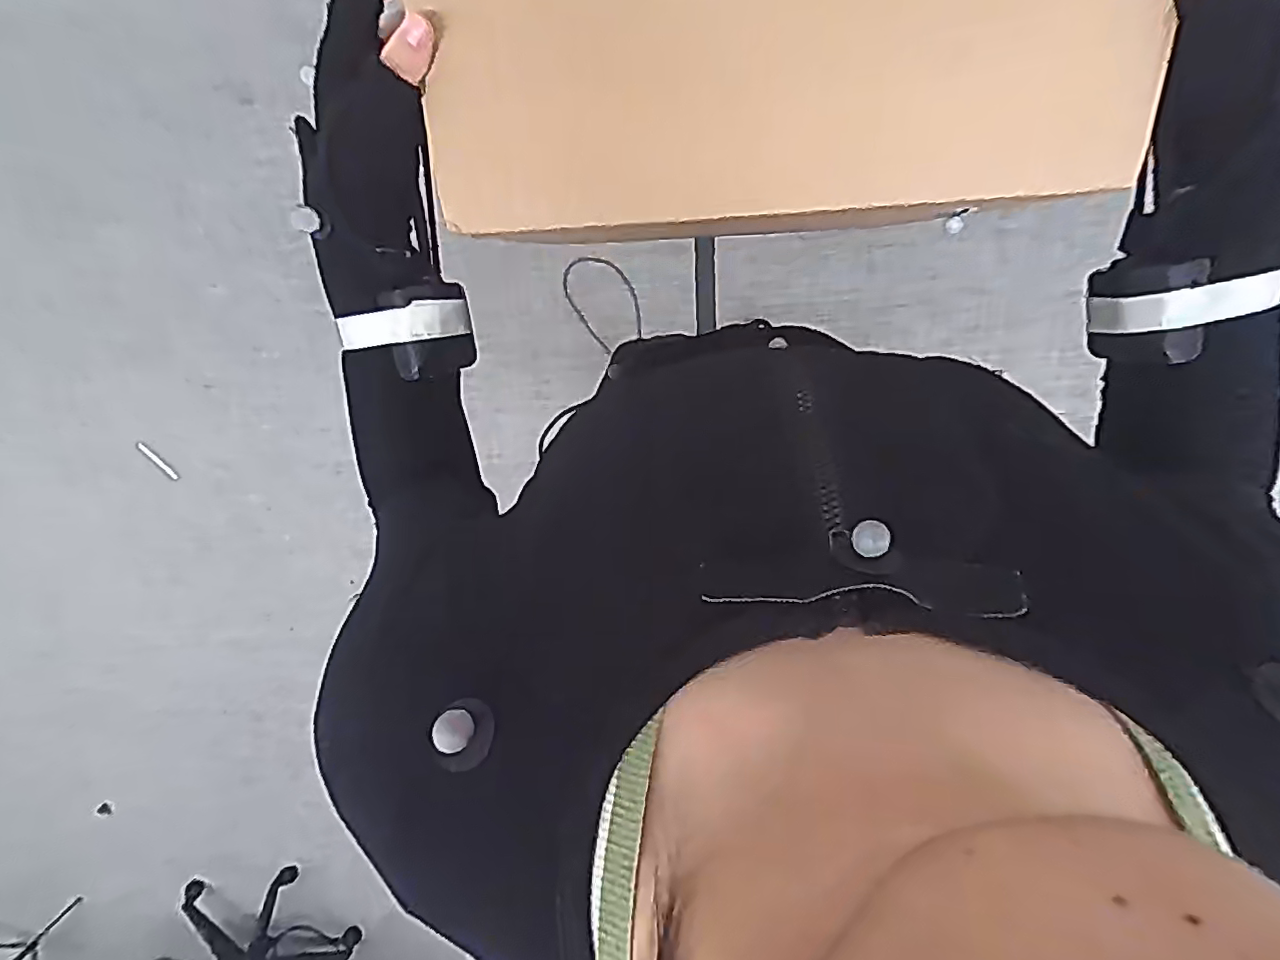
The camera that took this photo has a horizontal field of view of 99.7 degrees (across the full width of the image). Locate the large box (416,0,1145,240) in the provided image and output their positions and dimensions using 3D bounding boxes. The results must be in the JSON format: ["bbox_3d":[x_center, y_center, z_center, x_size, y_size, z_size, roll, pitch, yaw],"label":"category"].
[{"bbox_3d":[0.077,-0.365,0.413,0.408,0.320,0.320,-2,112,3],"label":"large box"}]
